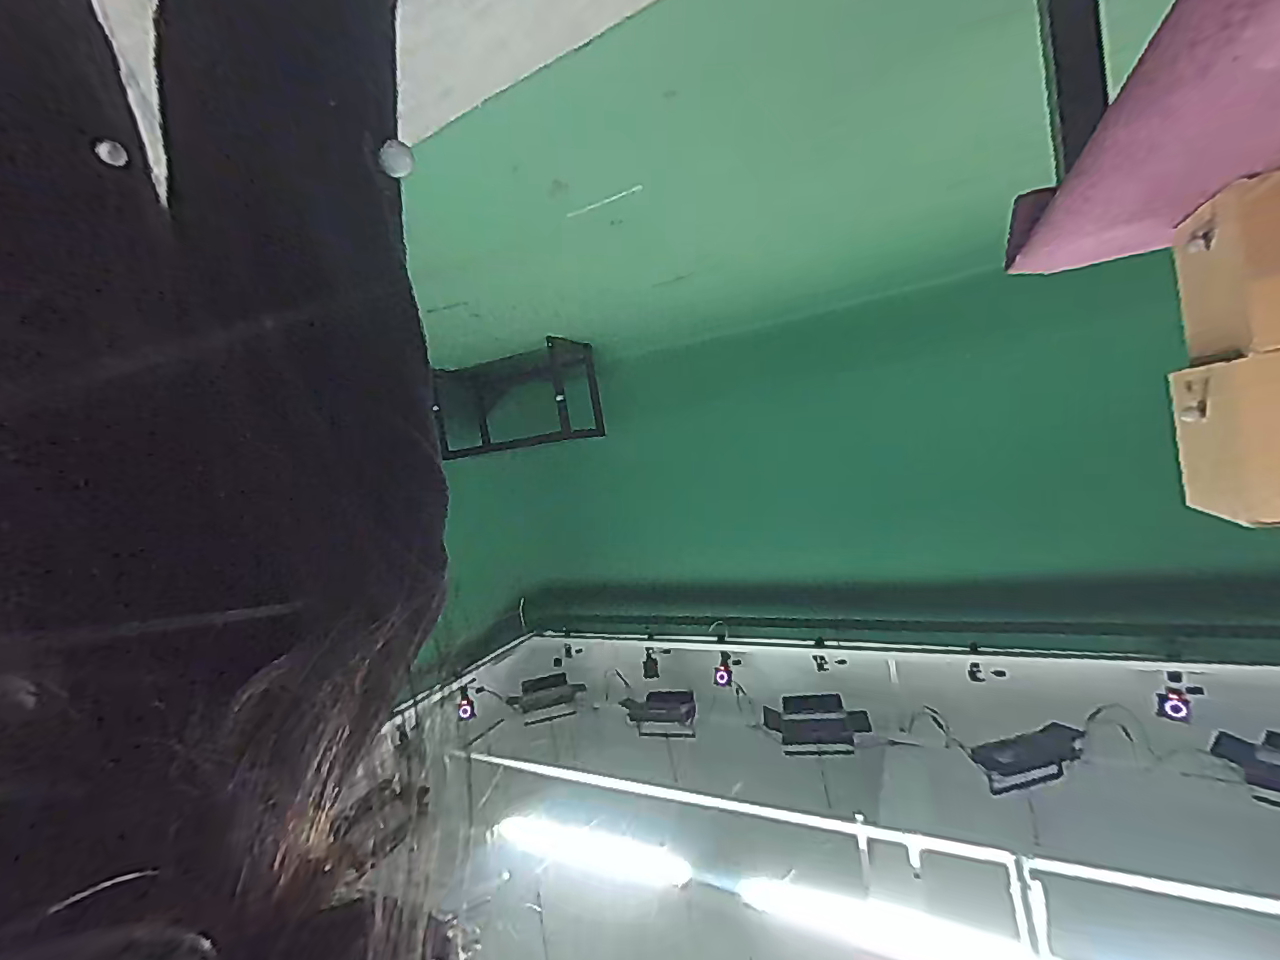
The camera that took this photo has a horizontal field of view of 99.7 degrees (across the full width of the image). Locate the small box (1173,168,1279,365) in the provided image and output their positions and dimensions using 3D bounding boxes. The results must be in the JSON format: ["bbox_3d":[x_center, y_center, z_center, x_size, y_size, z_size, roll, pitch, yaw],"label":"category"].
[{"bbox_3d":[0.668,-0.215,0.521,0.179,0.176,0.168,-9,-179,30],"label":"small box"}]

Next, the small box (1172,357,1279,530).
[{"bbox_3d":[0.692,-0.053,0.547,0.179,0.176,0.168,-8,-179,30],"label":"small box"}]
